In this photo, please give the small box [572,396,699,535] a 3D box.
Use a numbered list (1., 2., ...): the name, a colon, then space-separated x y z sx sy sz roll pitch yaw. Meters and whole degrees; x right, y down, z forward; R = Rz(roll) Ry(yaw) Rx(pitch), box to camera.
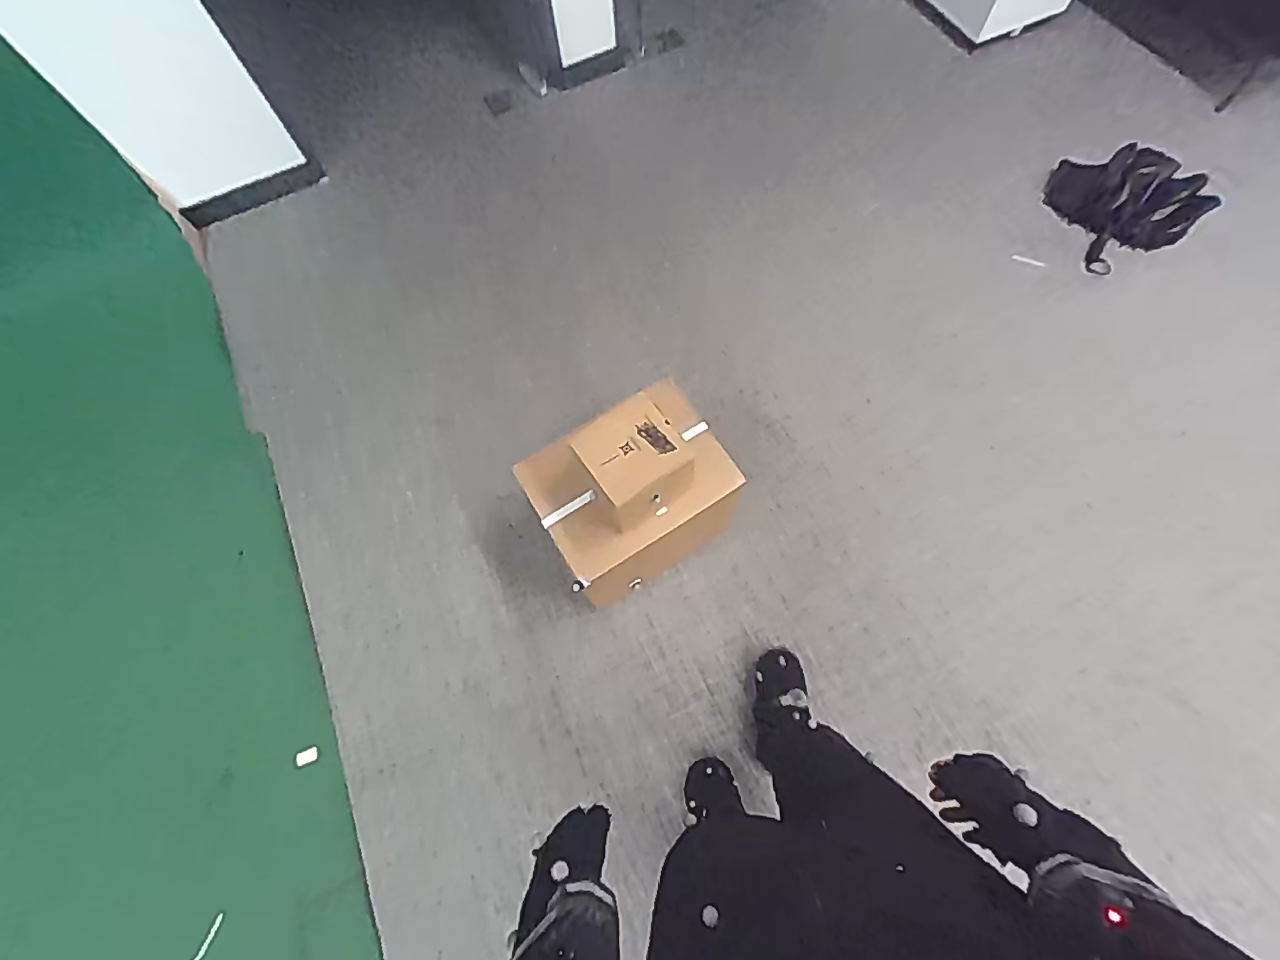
1. small box: -0.008 -0.022 1.044 0.179 0.176 0.168 -36 71 -12
